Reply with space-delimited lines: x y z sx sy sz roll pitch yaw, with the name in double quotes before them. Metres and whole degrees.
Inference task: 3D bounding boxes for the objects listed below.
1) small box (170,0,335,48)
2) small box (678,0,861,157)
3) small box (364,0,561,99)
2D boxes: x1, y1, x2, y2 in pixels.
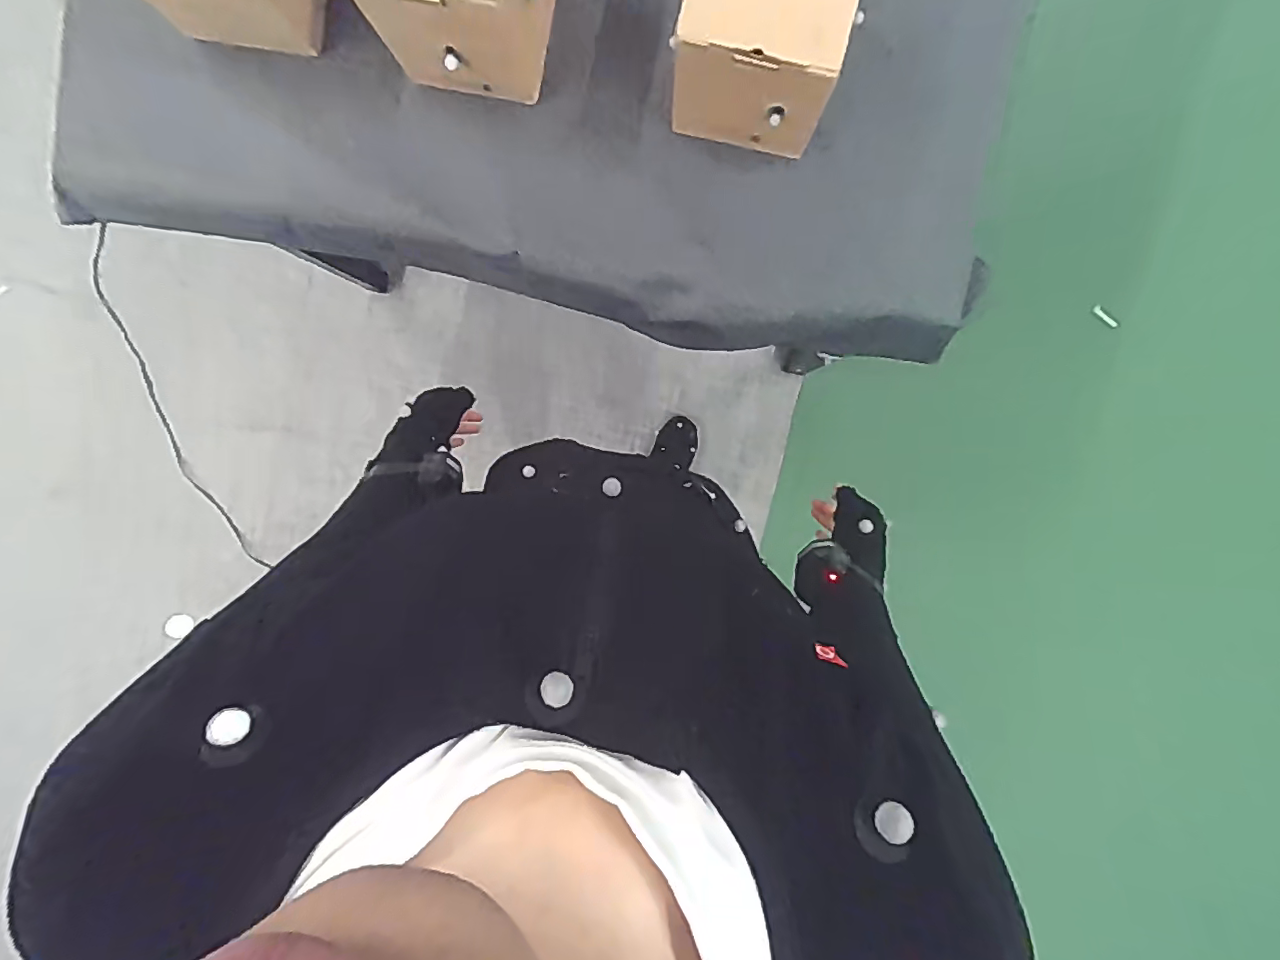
"small box" -0.476 -0.637 0.612 0.179 0.176 0.168 10 96 1
"small box" 0.141 -0.498 0.599 0.168 0.176 0.179 14 94 0
"small box" -0.190 -0.573 0.606 0.168 0.176 0.179 12 96 1
